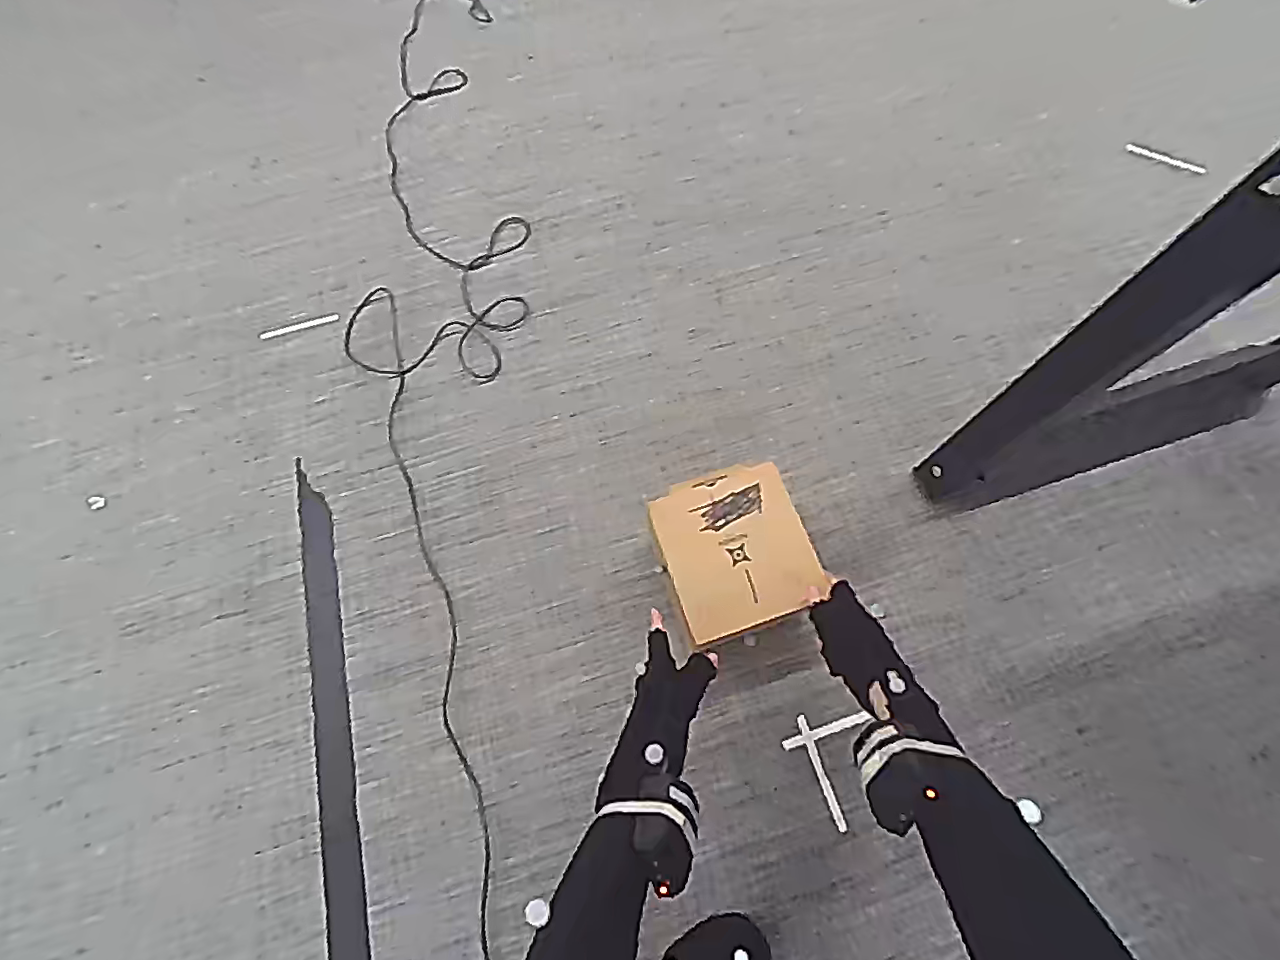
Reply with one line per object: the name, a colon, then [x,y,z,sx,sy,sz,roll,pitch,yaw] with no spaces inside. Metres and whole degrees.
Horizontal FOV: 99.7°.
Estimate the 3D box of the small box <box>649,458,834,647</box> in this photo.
small box: [0.114,0.101,0.691,0.168,0.176,0.179,-18,70,-4]
